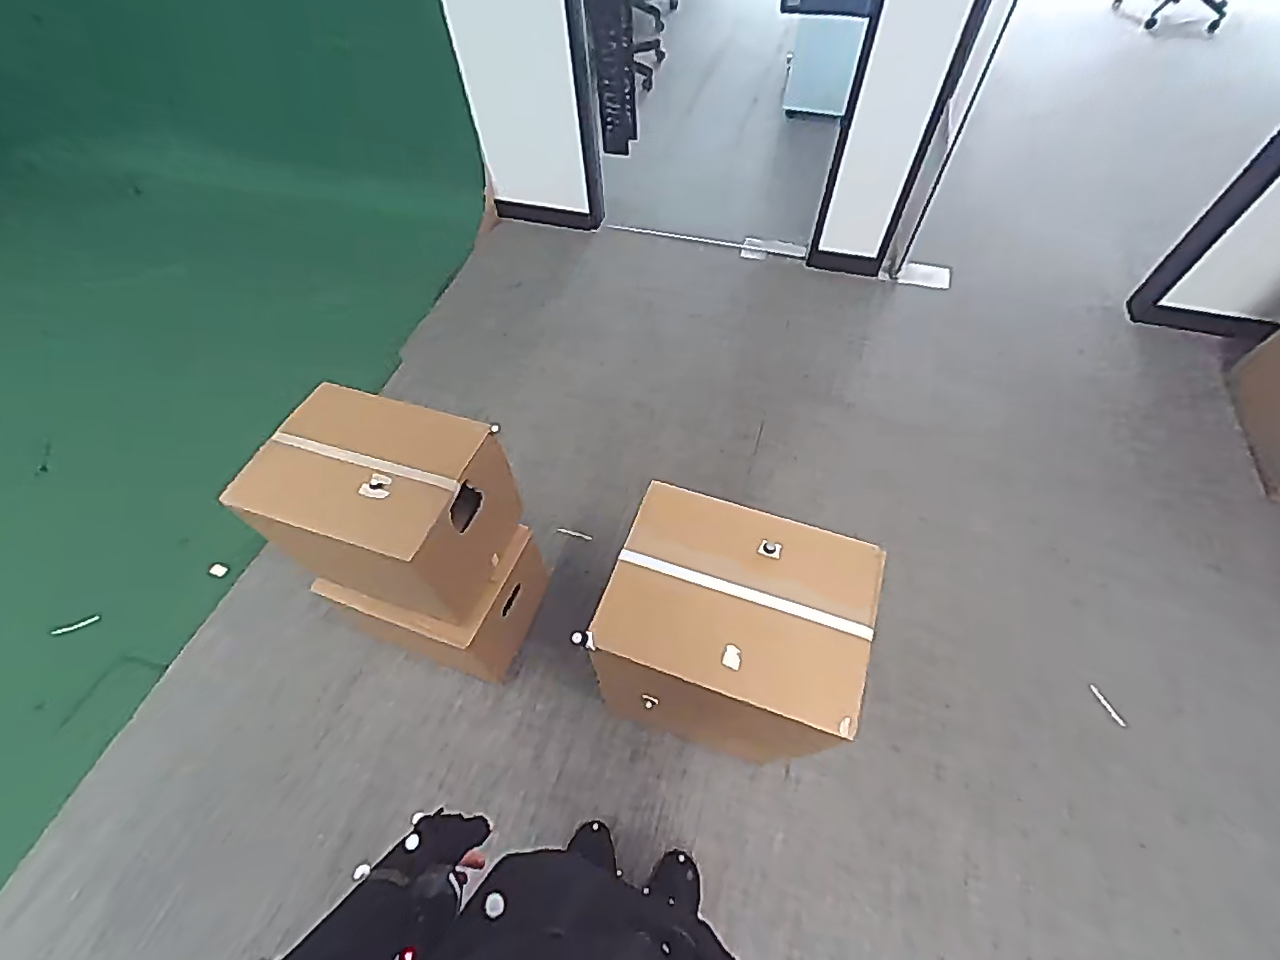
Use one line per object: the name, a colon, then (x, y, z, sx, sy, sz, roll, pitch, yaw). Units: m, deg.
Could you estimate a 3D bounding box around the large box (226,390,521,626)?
large box: (-0.517, 0.060, 1.142, 0.408, 0.320, 0.320, 16, 56, 10)
